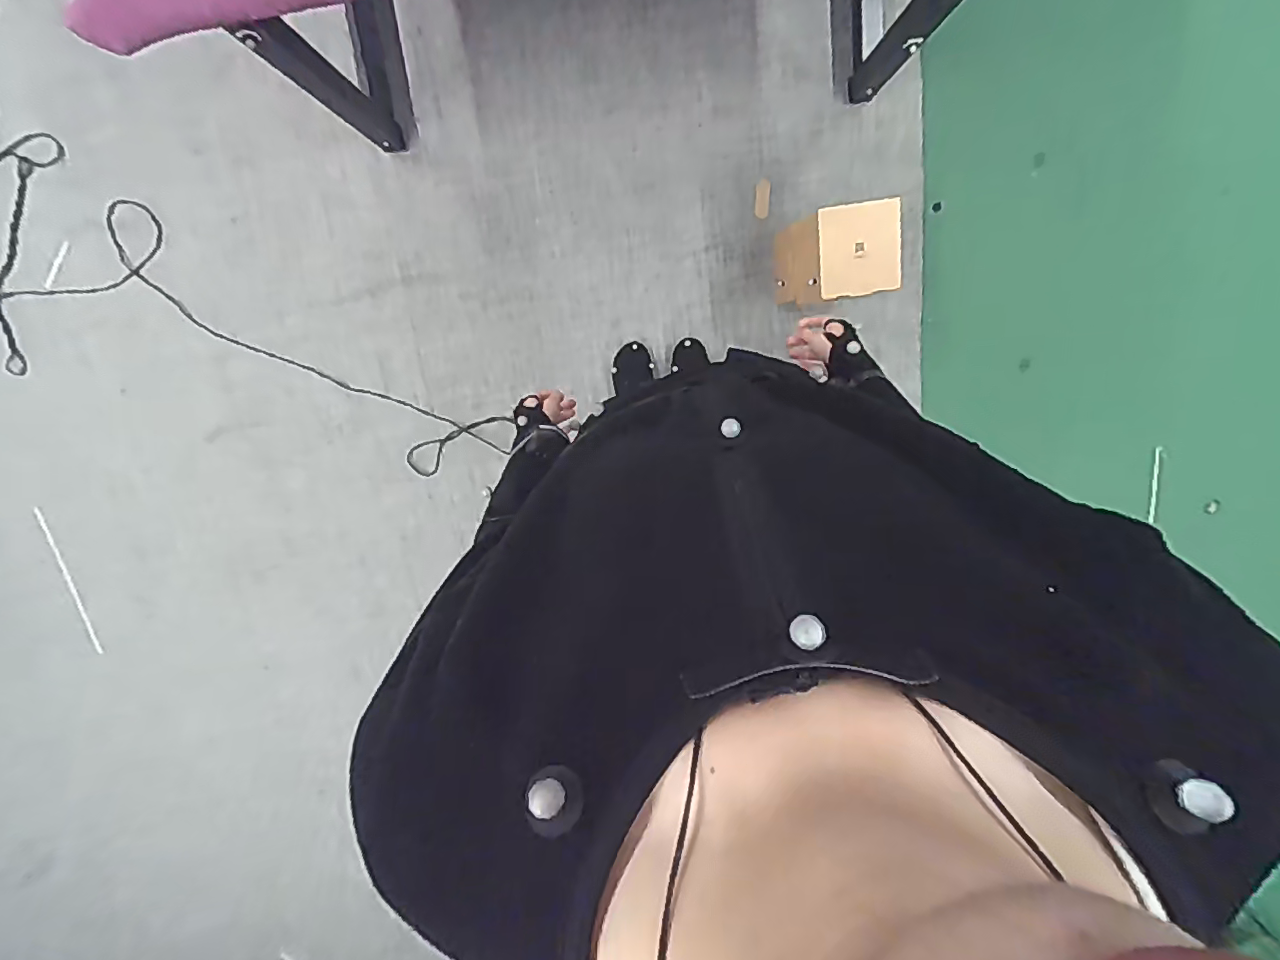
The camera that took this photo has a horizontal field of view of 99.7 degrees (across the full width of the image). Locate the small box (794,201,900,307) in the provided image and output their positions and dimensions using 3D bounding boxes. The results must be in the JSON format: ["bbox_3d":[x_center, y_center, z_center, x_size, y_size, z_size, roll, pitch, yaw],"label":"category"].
[{"bbox_3d":[0.438,-0.476,1.162,0.168,0.176,0.179,-8,105,1],"label":"small box"}]

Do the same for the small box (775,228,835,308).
[{"bbox_3d":[0.431,-0.516,1.318,0.179,0.176,0.168,-5,104,1],"label":"small box"}]
